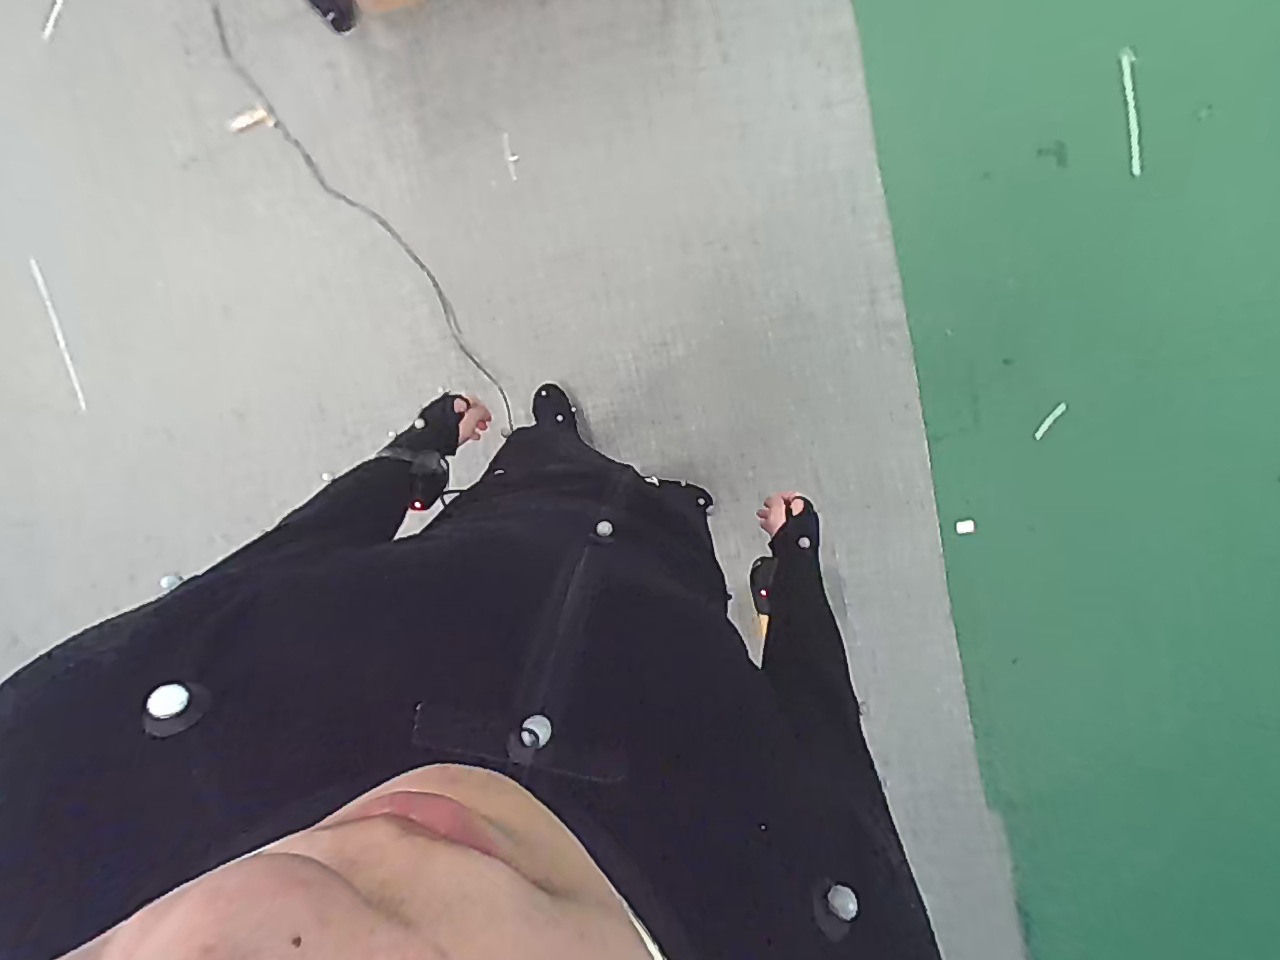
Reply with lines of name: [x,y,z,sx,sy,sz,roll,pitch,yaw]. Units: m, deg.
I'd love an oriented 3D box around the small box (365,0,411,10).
small box: [-0.690,-1.392,1.416,0.179,0.176,0.168,-13,96,5]

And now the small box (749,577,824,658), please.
small box: [0.416,0.387,1.557,0.168,0.176,0.179,-10,96,5]
